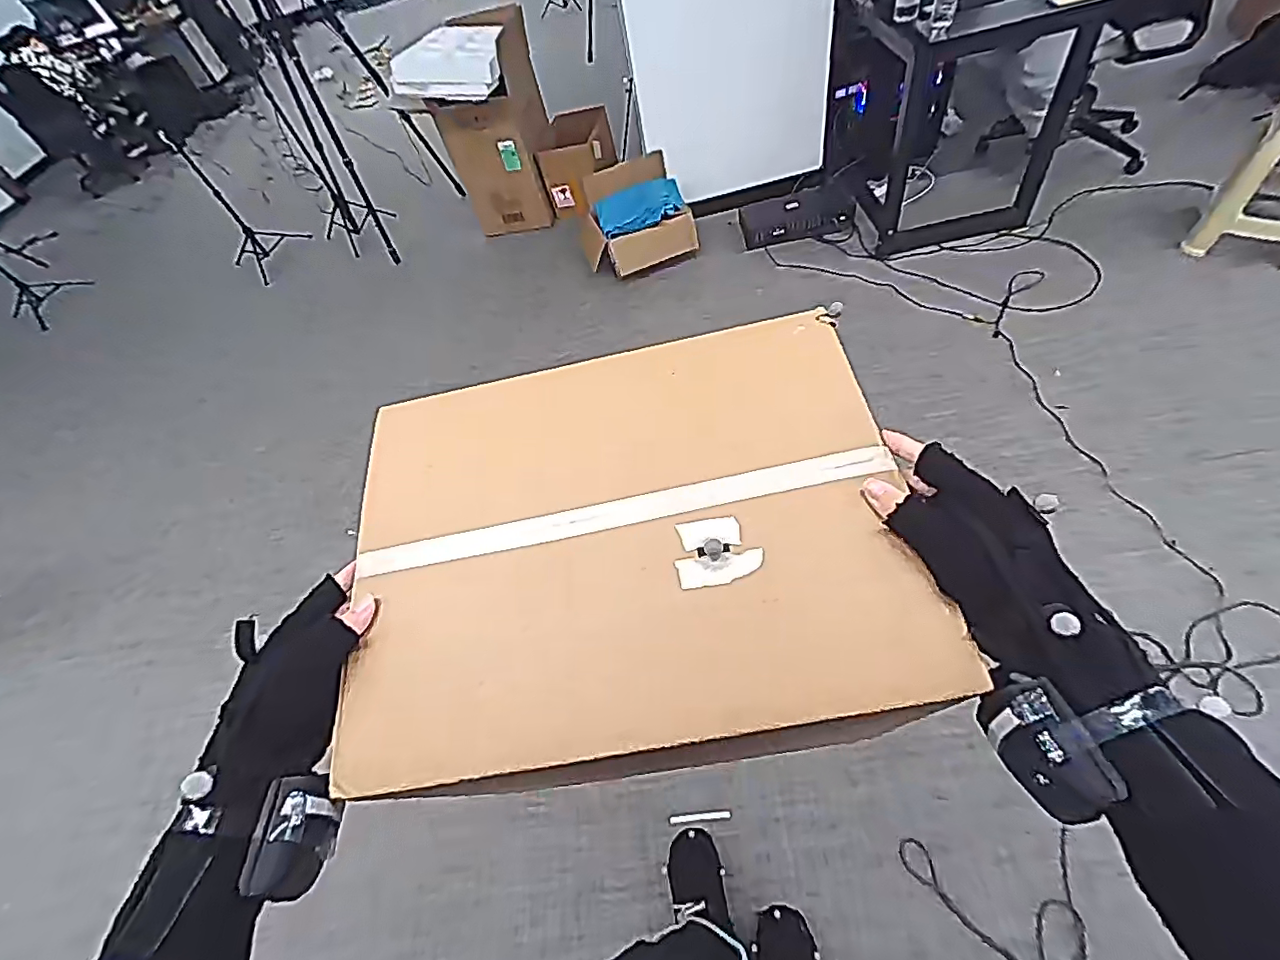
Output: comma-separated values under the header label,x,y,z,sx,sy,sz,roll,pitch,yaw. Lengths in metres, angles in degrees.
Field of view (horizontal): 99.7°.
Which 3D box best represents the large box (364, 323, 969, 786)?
label,x,y,z,sx,sy,sz,roll,pitch,yaw
large box,0.011,0.102,0.544,0.408,0.320,0.320,-11,60,4
